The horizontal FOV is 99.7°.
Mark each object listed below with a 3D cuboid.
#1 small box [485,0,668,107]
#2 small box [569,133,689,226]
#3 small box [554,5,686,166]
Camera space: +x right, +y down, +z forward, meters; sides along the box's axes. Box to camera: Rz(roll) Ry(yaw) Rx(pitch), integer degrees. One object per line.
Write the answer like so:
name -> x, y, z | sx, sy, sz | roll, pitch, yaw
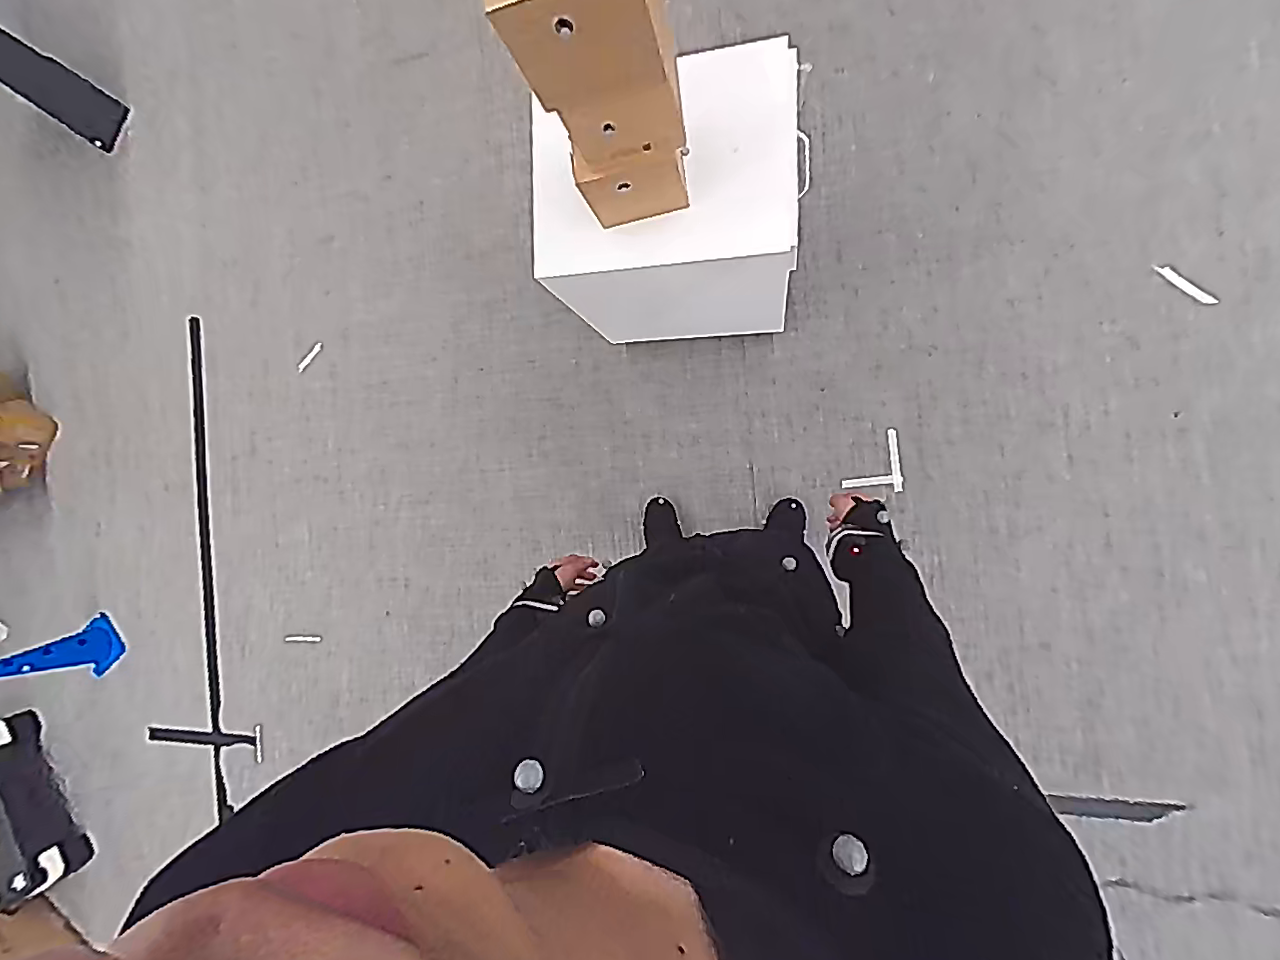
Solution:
small box -> -0.071, -0.592, 0.649 | 0.179, 0.176, 0.168 | -4, 89, 13
small box -> -0.017, -0.586, 0.973 | 0.179, 0.176, 0.168 | -8, 88, 12
small box -> -0.031, -0.605, 0.810 | 0.168, 0.176, 0.179 | -7, 87, 13
